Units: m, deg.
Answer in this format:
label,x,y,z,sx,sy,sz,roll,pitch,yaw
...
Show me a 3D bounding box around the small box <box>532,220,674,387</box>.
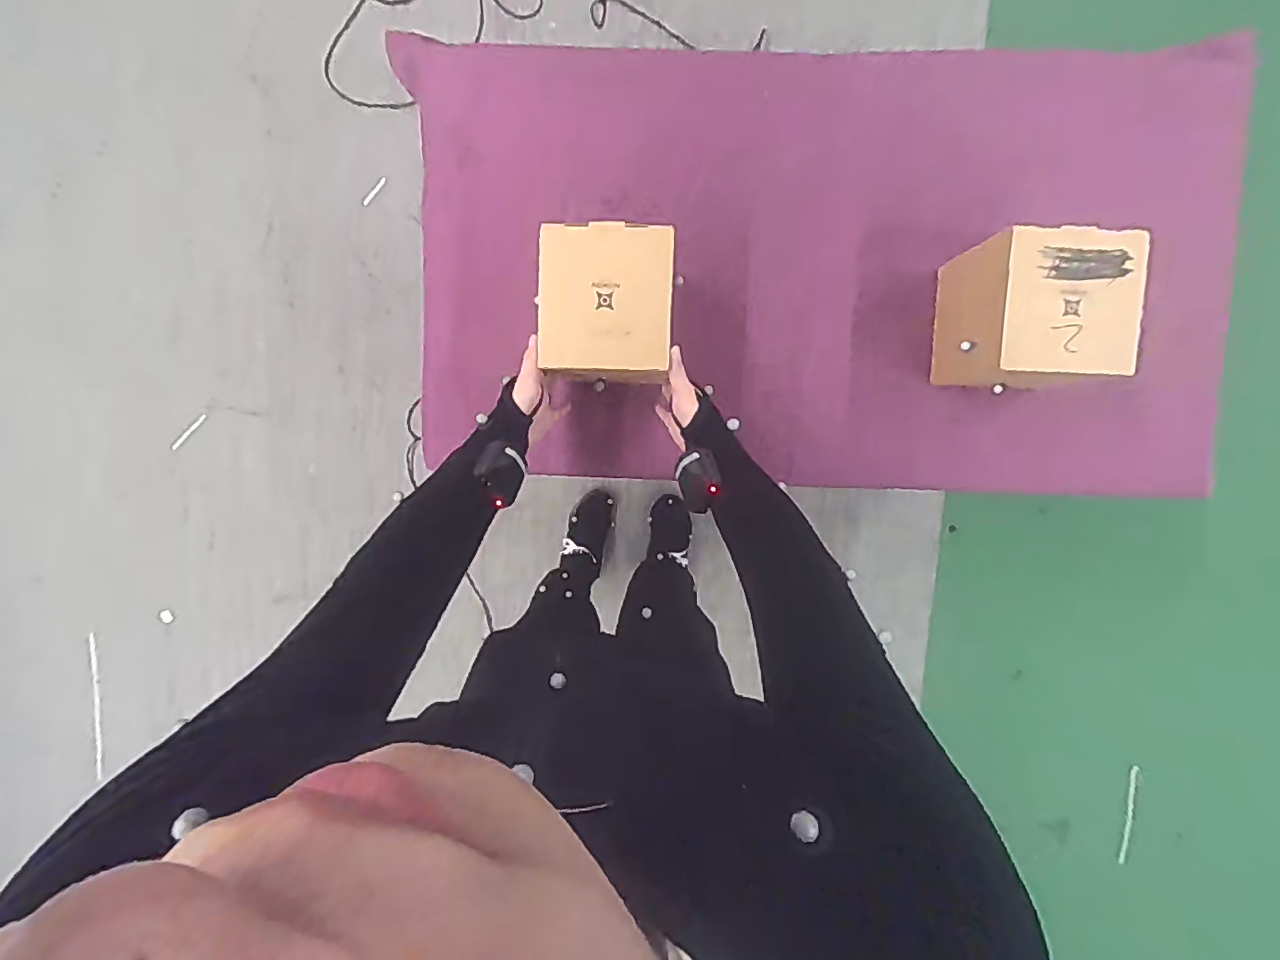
label,x,y,z,sx,sy,sz,roll,pitch,yaw
small box,-0.044,-0.224,0.726,0.168,0.176,0.179,2,95,1
